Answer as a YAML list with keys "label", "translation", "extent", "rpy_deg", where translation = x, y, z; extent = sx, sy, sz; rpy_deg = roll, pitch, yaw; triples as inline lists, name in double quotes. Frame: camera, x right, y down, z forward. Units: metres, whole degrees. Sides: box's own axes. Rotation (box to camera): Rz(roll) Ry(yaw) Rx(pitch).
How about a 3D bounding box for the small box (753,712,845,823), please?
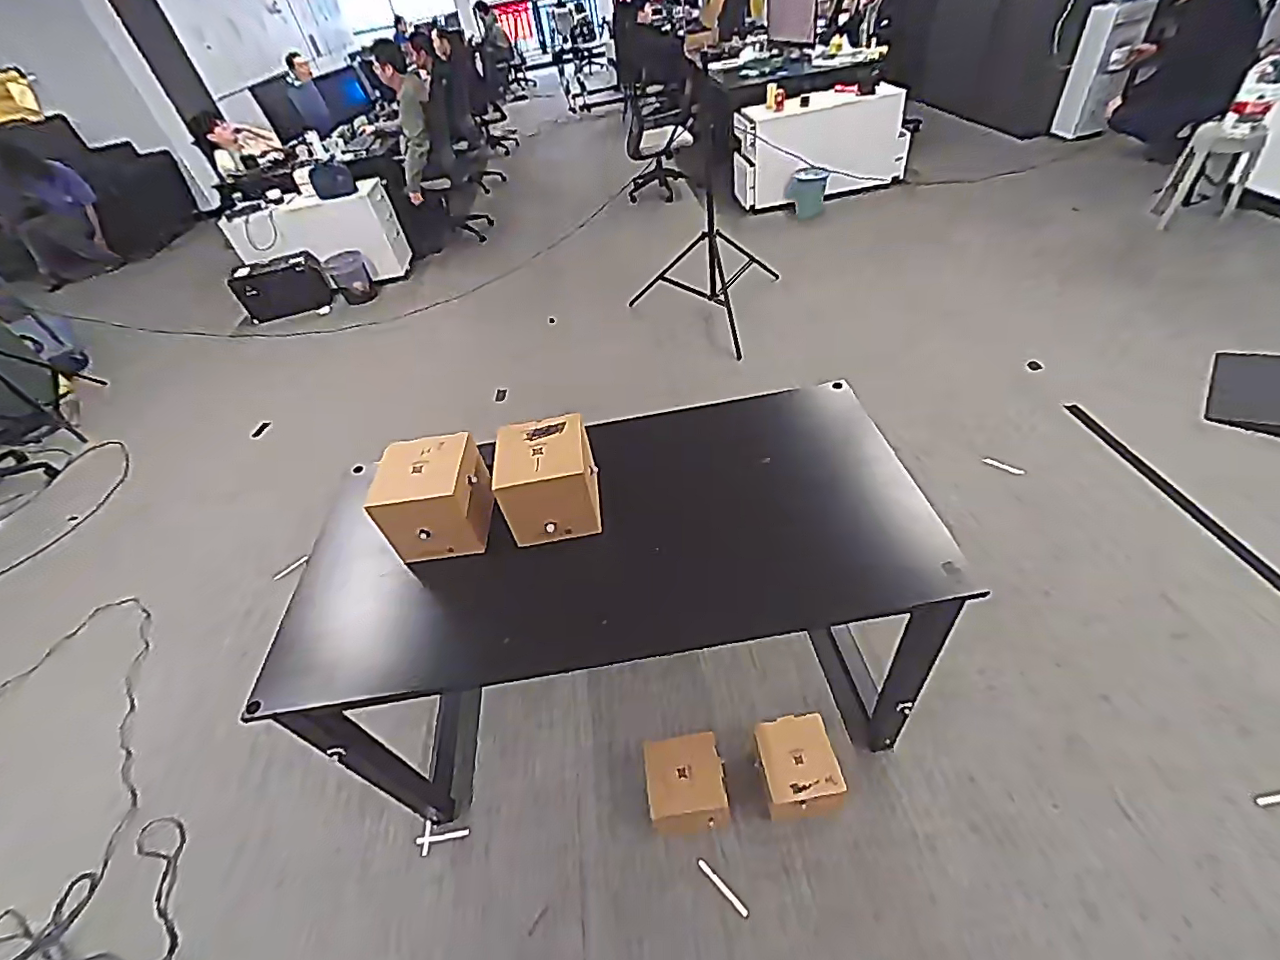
- label: "small box"
  translation: [0.369, 0.687, 1.292]
  extent: [0.168, 0.176, 0.179]
  rpy_deg: [-11, 43, 1]

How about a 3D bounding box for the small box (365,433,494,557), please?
- label: "small box"
  translation: [-0.398, 0.036, 1.060]
  extent: [0.168, 0.176, 0.179]
  rpy_deg: [-8, 44, 3]

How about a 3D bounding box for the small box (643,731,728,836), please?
- label: "small box"
  translation: [0.111, 0.732, 1.302]
  extent: [0.179, 0.176, 0.168]
  rpy_deg: [-11, 43, 1]

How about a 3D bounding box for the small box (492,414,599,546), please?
- label: "small box"
  translation: [-0.177, 0.001, 1.051]
  extent: [0.168, 0.176, 0.179]
  rpy_deg: [-11, 45, 0]
